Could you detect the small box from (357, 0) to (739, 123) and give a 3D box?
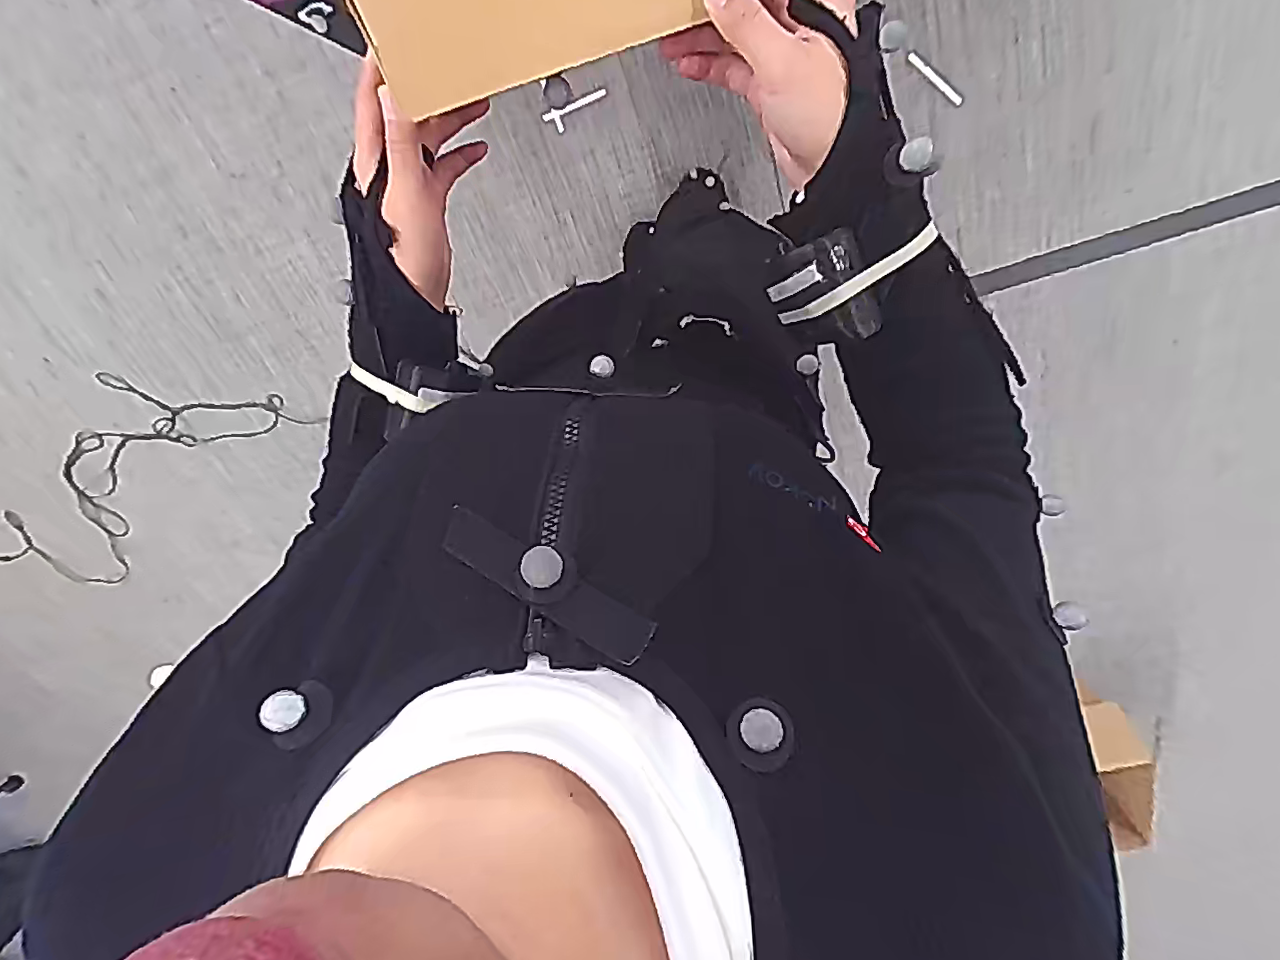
[{"bbox_3d":[-0.066,-0.312,0.279,0.179,0.176,0.168,-18,130,1],"label":"small box"}]
